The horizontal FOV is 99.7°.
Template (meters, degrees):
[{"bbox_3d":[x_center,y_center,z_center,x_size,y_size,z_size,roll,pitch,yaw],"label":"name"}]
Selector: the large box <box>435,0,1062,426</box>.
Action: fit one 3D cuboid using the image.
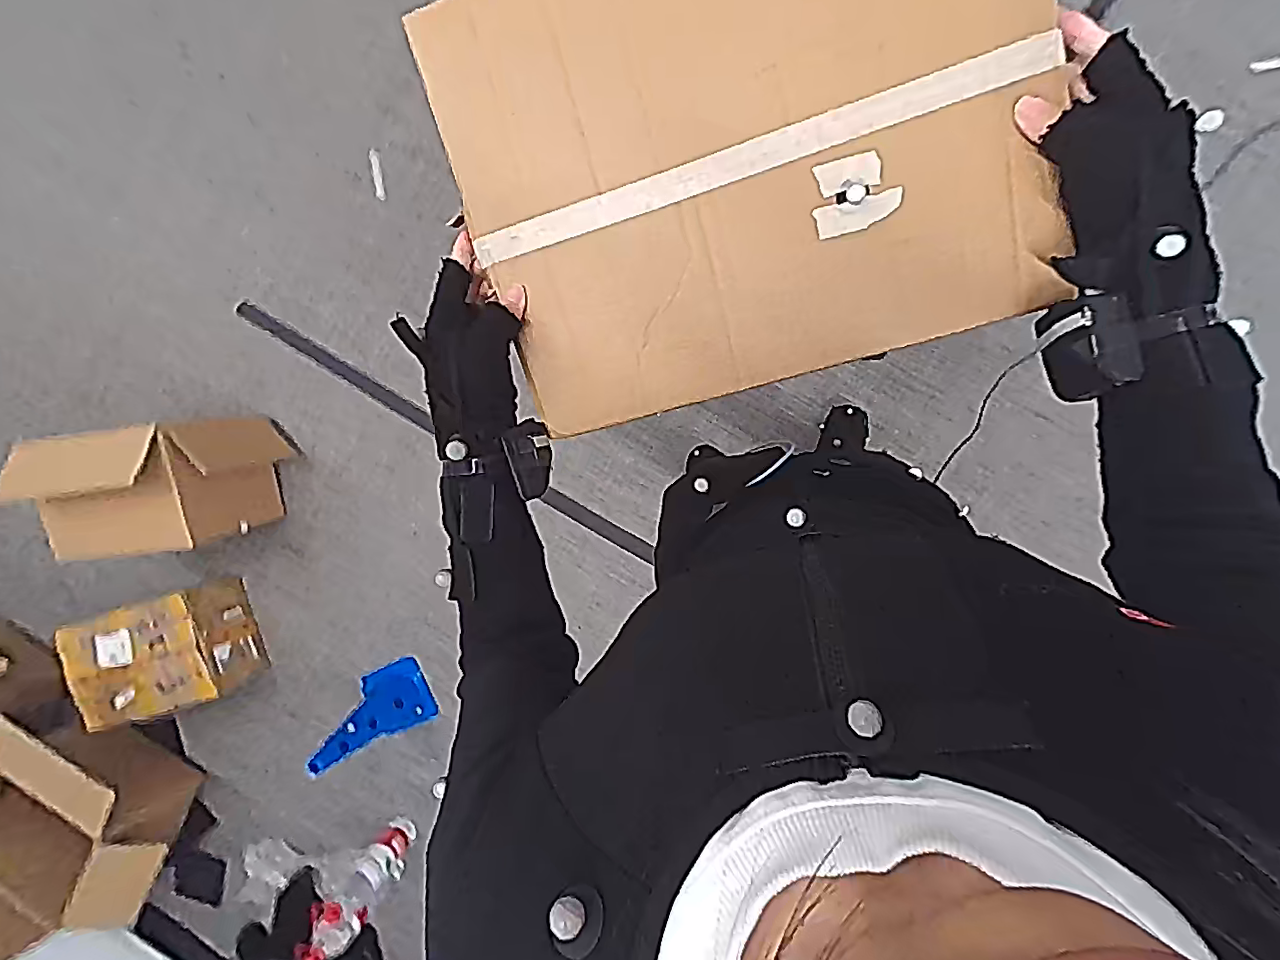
[{"bbox_3d":[0.094,-0.276,0.534,0.408,0.320,0.320,-13,106,11],"label":"large box"}]
